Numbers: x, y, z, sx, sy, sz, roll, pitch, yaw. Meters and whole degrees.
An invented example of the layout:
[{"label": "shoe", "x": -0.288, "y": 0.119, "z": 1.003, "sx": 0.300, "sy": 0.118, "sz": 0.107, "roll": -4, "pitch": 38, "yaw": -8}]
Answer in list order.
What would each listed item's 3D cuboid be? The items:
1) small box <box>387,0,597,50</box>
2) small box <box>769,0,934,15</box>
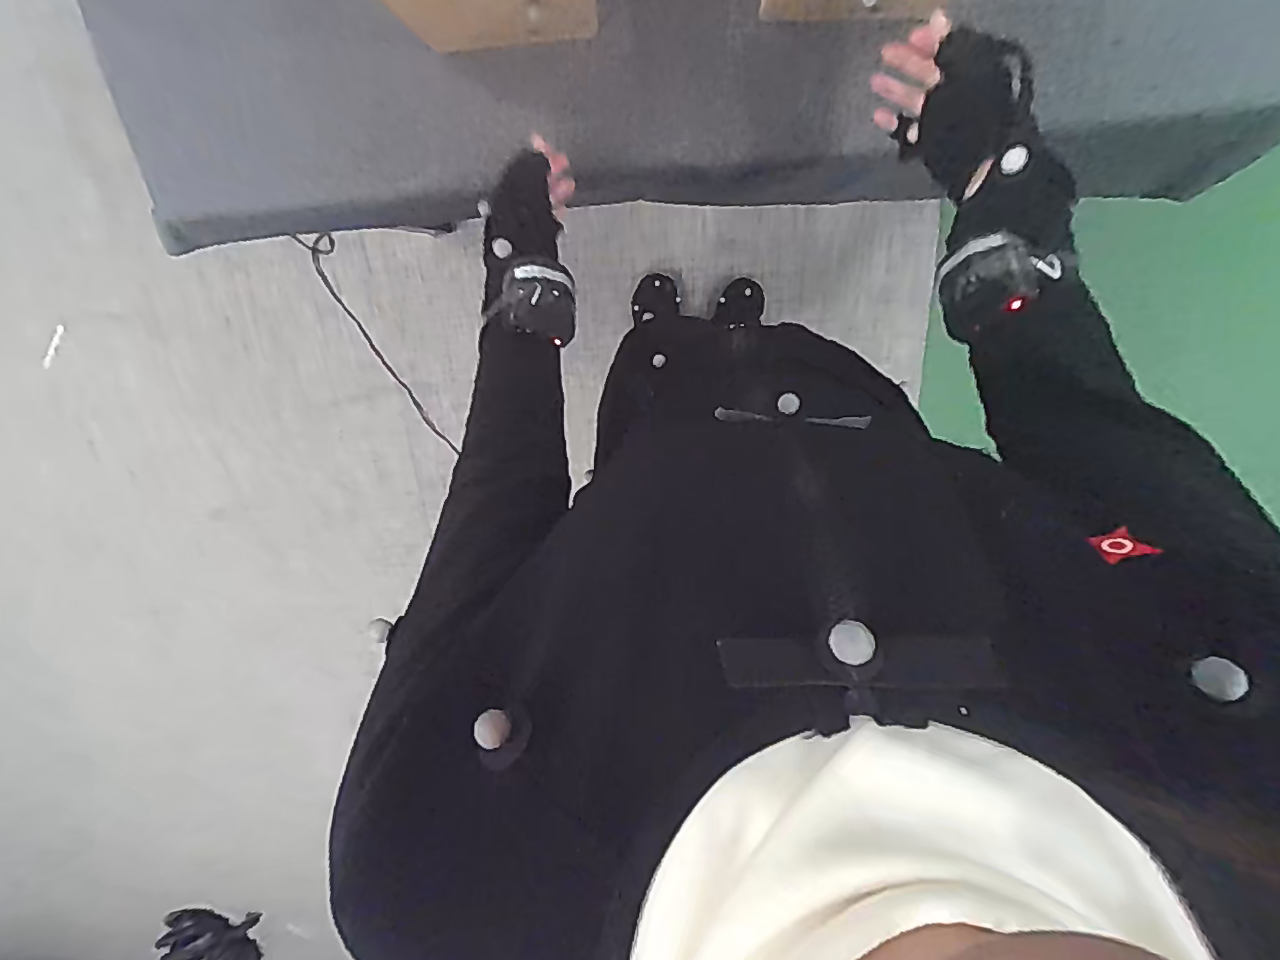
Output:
[{"label": "small box", "x": -0.132, "y": -0.487, "z": 0.443, "sx": 0.168, "sy": 0.176, "sz": 0.179, "roll": -4, "pitch": 110, "yaw": 3}, {"label": "small box", "x": 0.192, "y": -0.496, "z": 0.419, "sx": 0.168, "sy": 0.176, "sz": 0.179, "roll": 0, "pitch": 112, "yaw": 3}]
